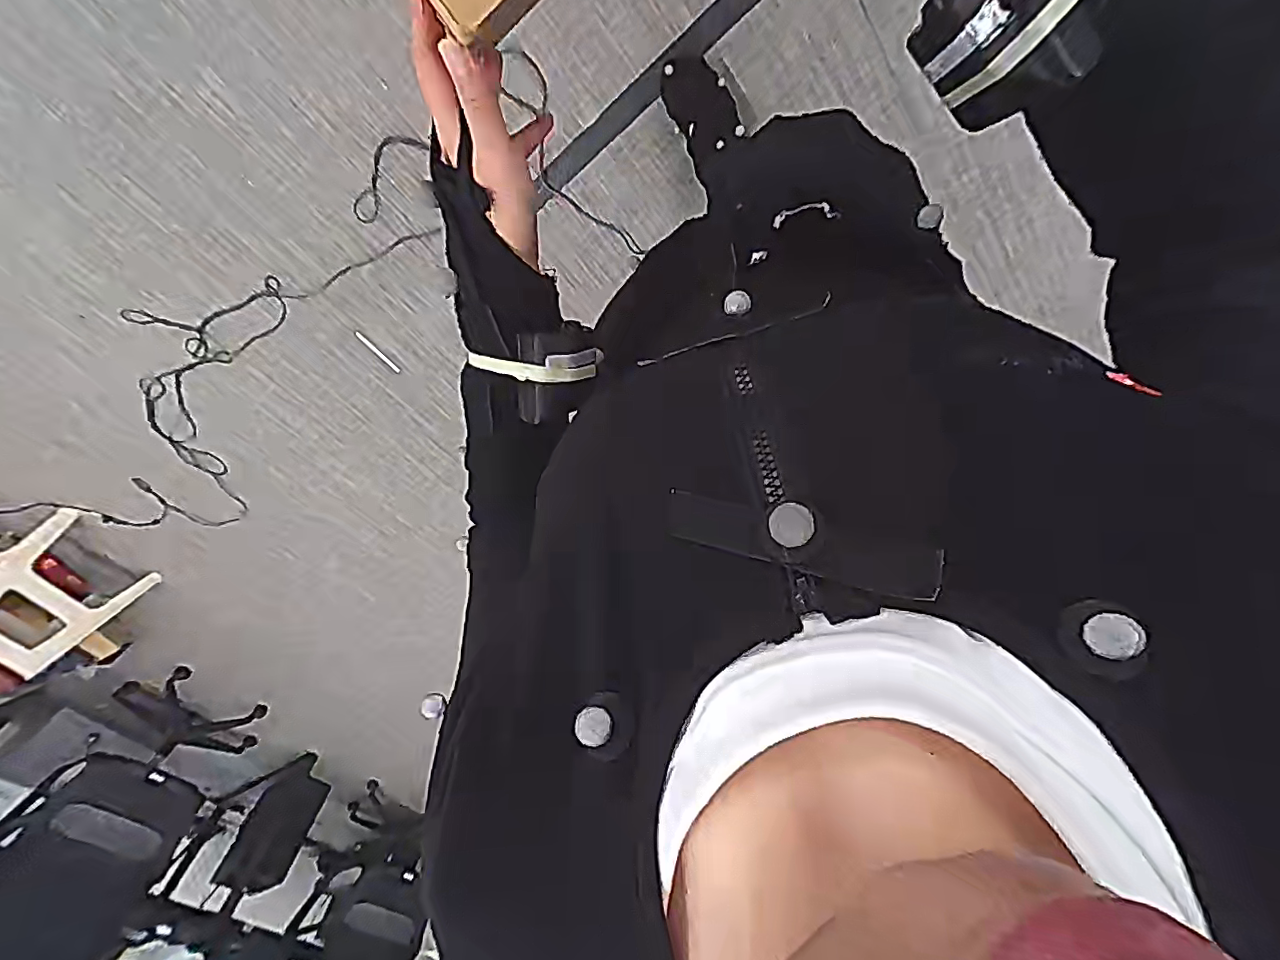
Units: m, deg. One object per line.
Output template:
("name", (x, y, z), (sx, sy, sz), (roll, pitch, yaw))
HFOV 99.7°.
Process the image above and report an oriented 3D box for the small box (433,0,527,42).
("small box", (-0.067, -0.330, 0.223), (0.179, 0.176, 0.168), (-37, 126, 11))
